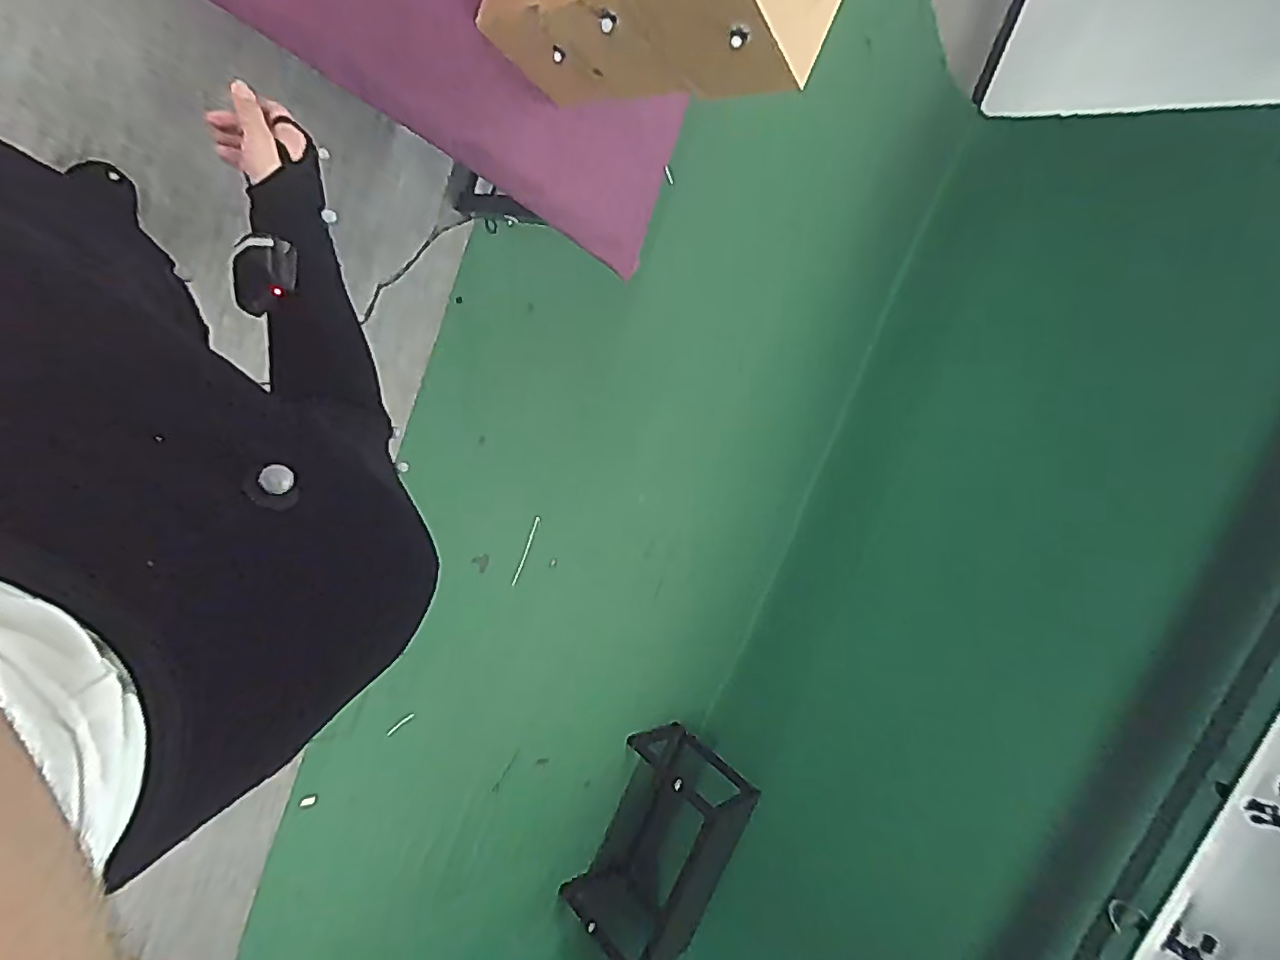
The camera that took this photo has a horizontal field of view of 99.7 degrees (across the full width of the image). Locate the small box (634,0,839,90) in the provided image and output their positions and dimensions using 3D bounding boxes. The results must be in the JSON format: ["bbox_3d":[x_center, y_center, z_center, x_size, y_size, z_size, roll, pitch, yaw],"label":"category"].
[{"bbox_3d":[0.114,-0.581,0.614,0.179,0.176,0.168,18,99,-51],"label":"small box"}]

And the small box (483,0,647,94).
[{"bbox_3d":[-0.106,-0.718,0.814,0.179,0.176,0.168,14,101,-51],"label":"small box"}]
